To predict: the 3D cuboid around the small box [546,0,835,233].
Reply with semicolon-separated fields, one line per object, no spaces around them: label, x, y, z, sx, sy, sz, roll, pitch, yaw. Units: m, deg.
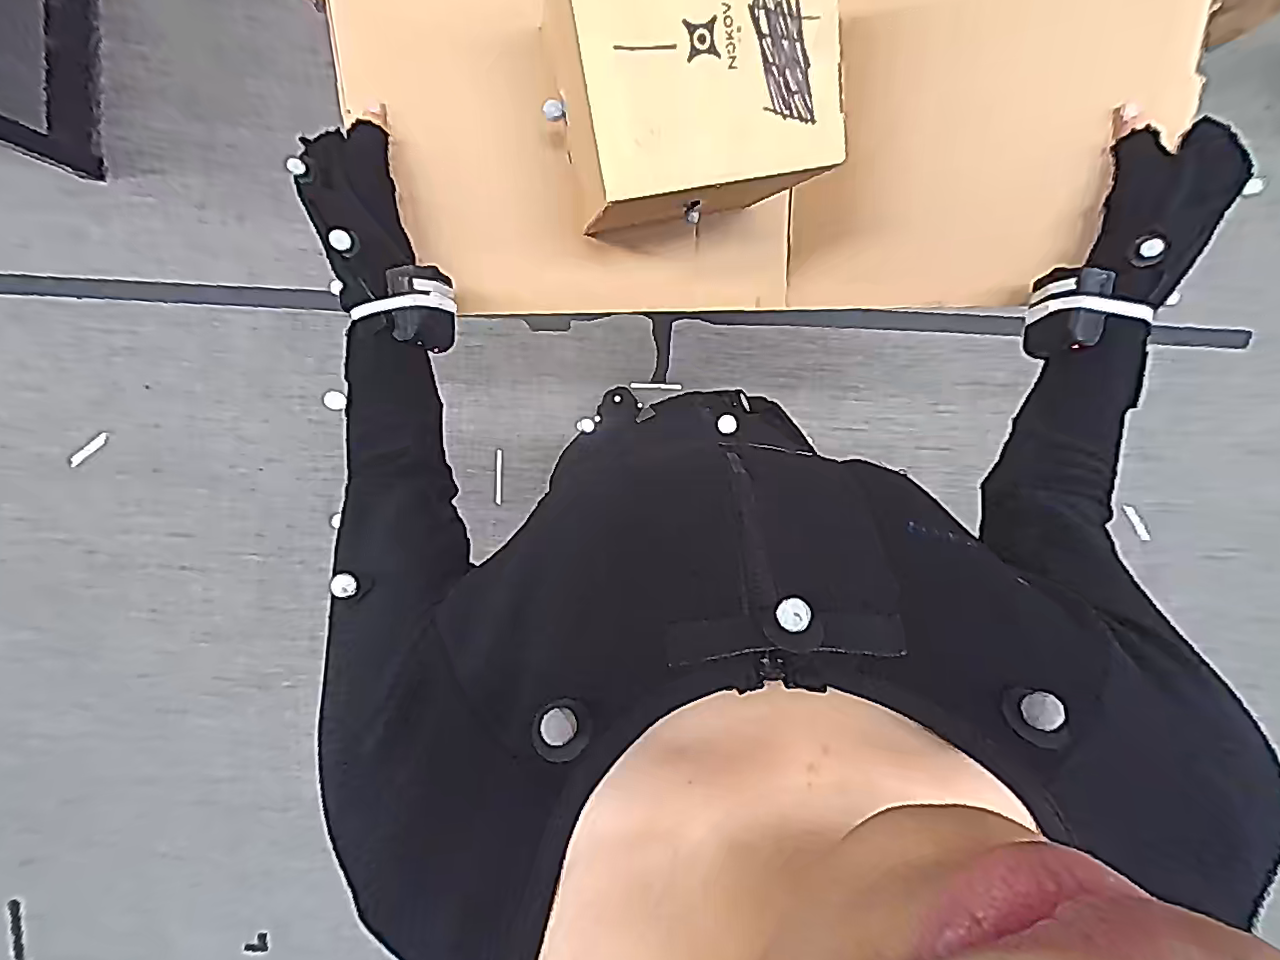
small box;0.030;-0.304;0.429;0.179;0.176;0.168;-13;109;-7
